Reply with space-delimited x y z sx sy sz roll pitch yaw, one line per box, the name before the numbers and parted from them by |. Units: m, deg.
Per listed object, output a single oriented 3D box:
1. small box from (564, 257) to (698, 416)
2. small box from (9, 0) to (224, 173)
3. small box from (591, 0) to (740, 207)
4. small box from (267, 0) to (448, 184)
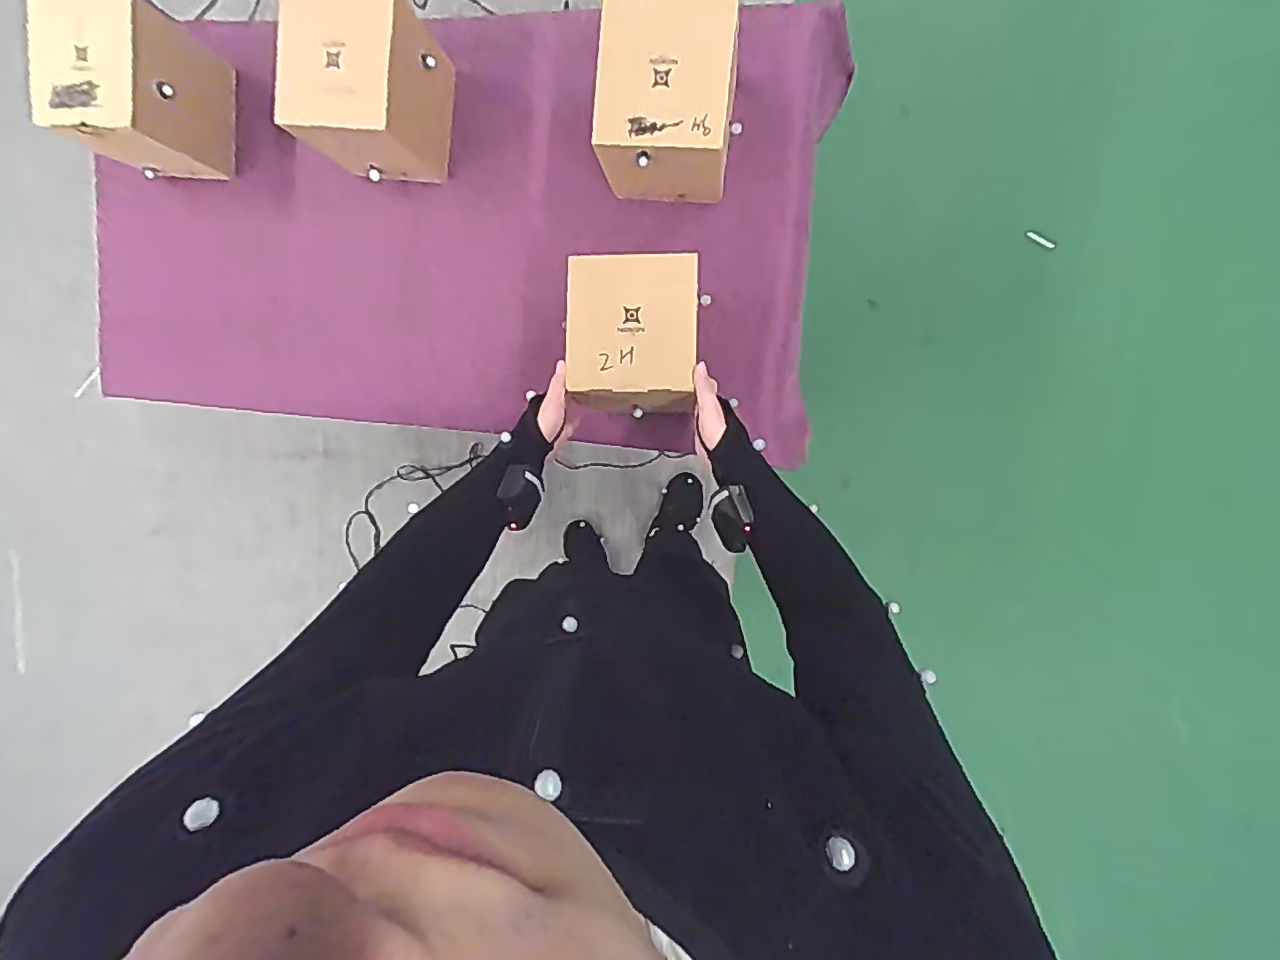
small box | -0.007 -0.192 0.760 0.168 0.176 0.179 1 89 4
small box | -0.768 -0.587 0.812 0.168 0.176 0.179 7 98 5
small box | 0.037 -0.499 0.735 0.168 0.176 0.179 7 97 6
small box | -0.393 -0.559 0.778 0.168 0.176 0.179 9 99 6
